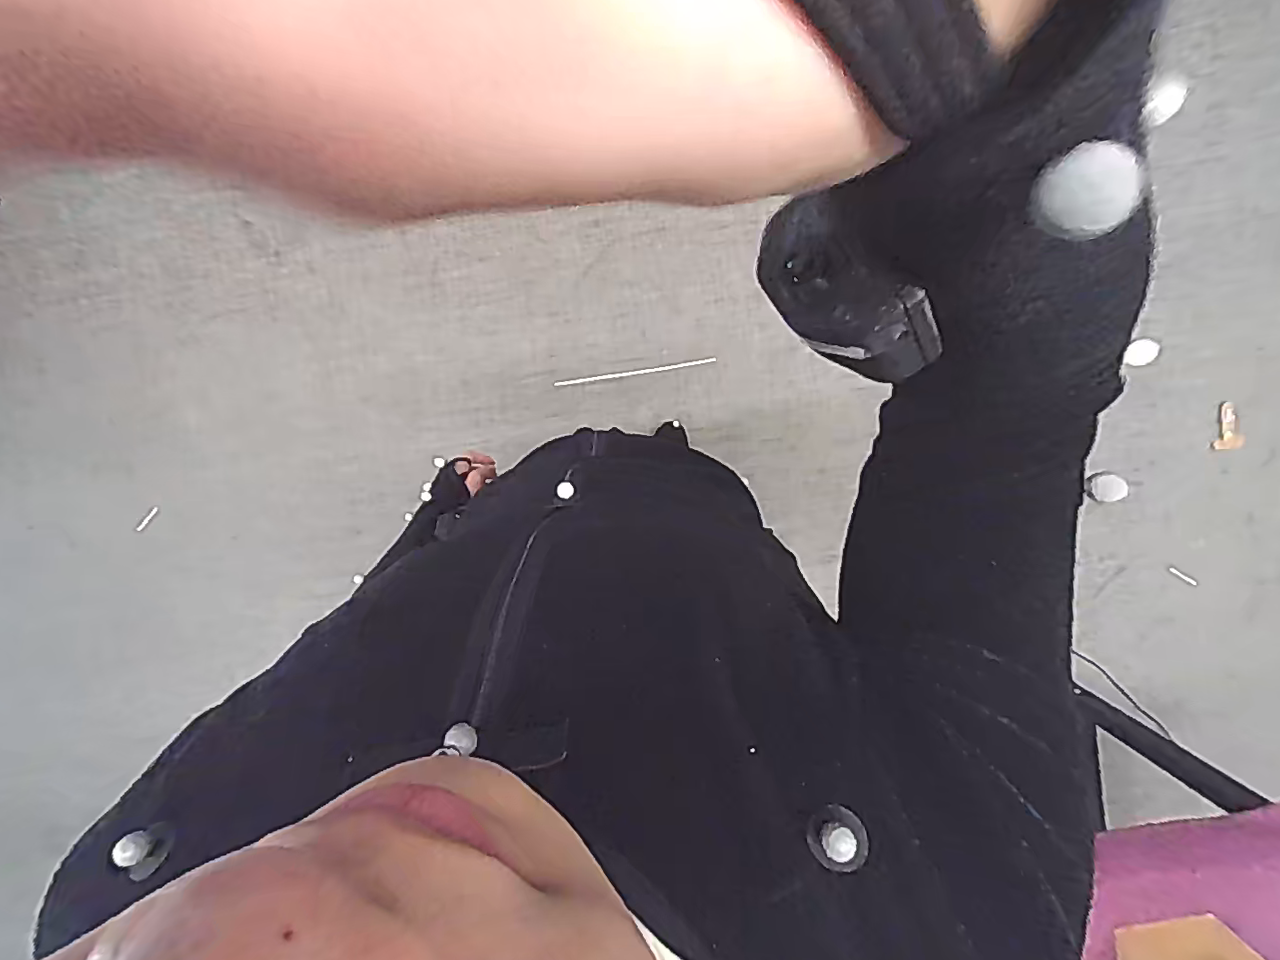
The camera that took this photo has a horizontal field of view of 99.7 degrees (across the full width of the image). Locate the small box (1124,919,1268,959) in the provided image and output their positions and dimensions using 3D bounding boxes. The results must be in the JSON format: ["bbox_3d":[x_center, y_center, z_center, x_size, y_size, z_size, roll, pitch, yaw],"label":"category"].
[{"bbox_3d":[0.956,0.869,0.885,0.179,0.176,0.168,-11,95,1],"label":"small box"}]
